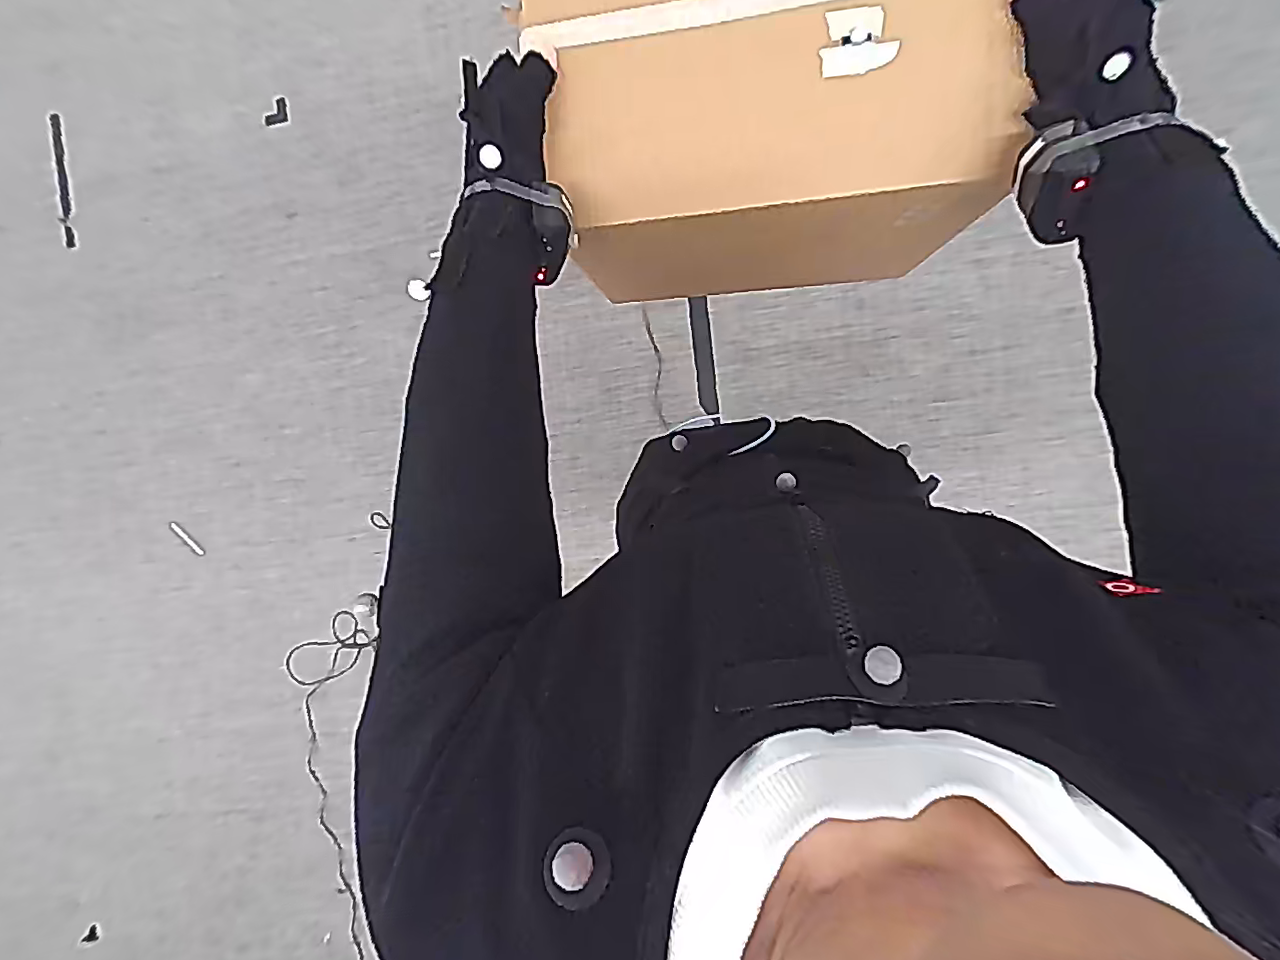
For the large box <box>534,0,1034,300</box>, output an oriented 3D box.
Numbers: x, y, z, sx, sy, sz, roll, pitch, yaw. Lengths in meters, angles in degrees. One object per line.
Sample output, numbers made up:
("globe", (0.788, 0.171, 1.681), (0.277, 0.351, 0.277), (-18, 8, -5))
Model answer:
("large box", (0.124, -0.407, 0.591), (0.408, 0.320, 0.320), (-3, 96, 7))
